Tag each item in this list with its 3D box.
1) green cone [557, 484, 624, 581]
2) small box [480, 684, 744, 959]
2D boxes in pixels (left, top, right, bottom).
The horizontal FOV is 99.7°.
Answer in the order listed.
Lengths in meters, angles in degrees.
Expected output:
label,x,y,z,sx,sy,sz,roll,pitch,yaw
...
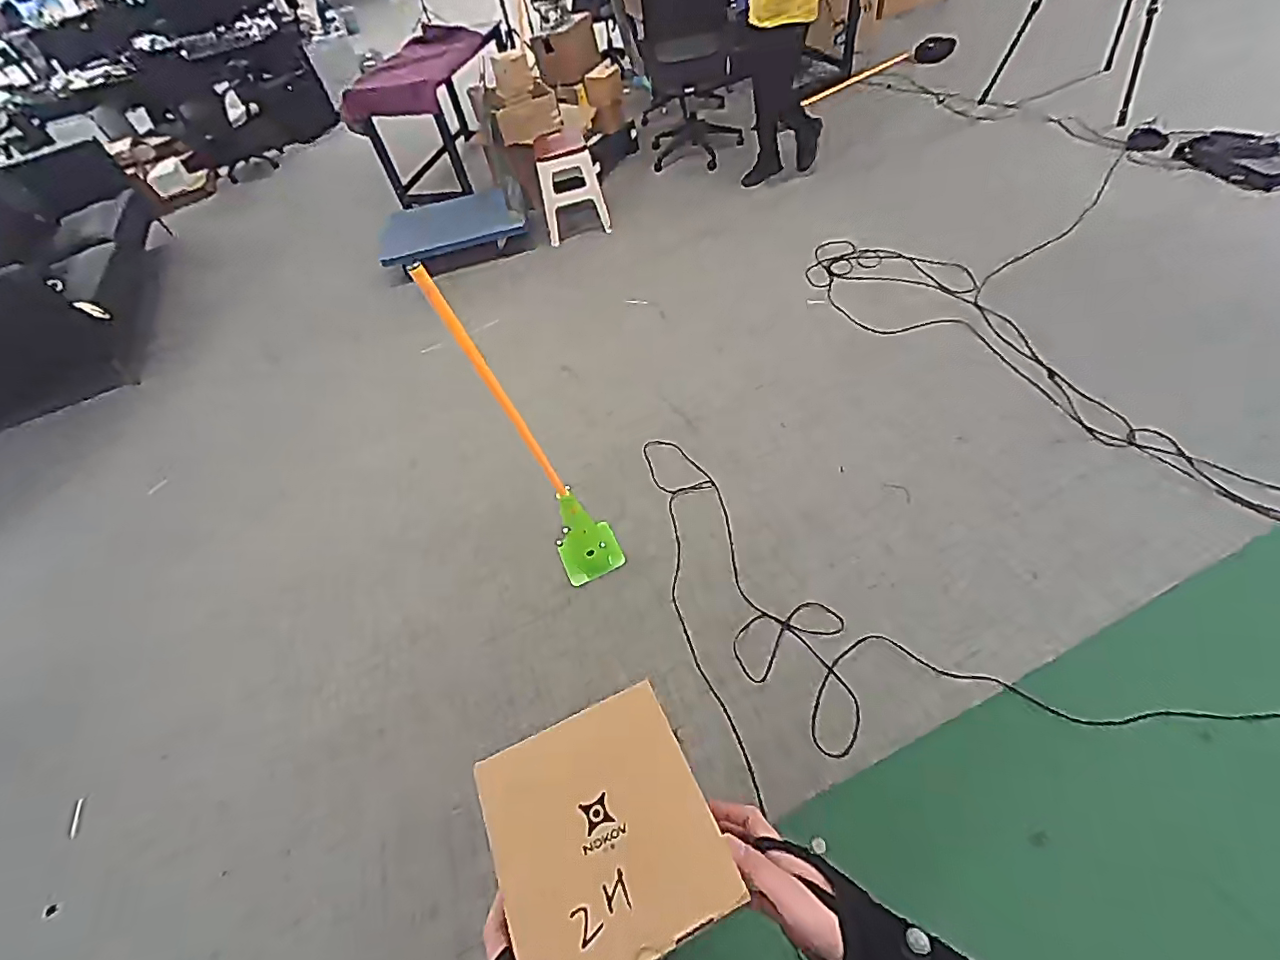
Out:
label,x,y,z,sx,sy,sz,roll,pitch,yaw
green cone,-0.198,0.139,1.751,0.202,0.368,0.200,-24,53,-9
small box,-0.025,0.323,0.487,0.168,0.176,0.179,-22,51,-11
